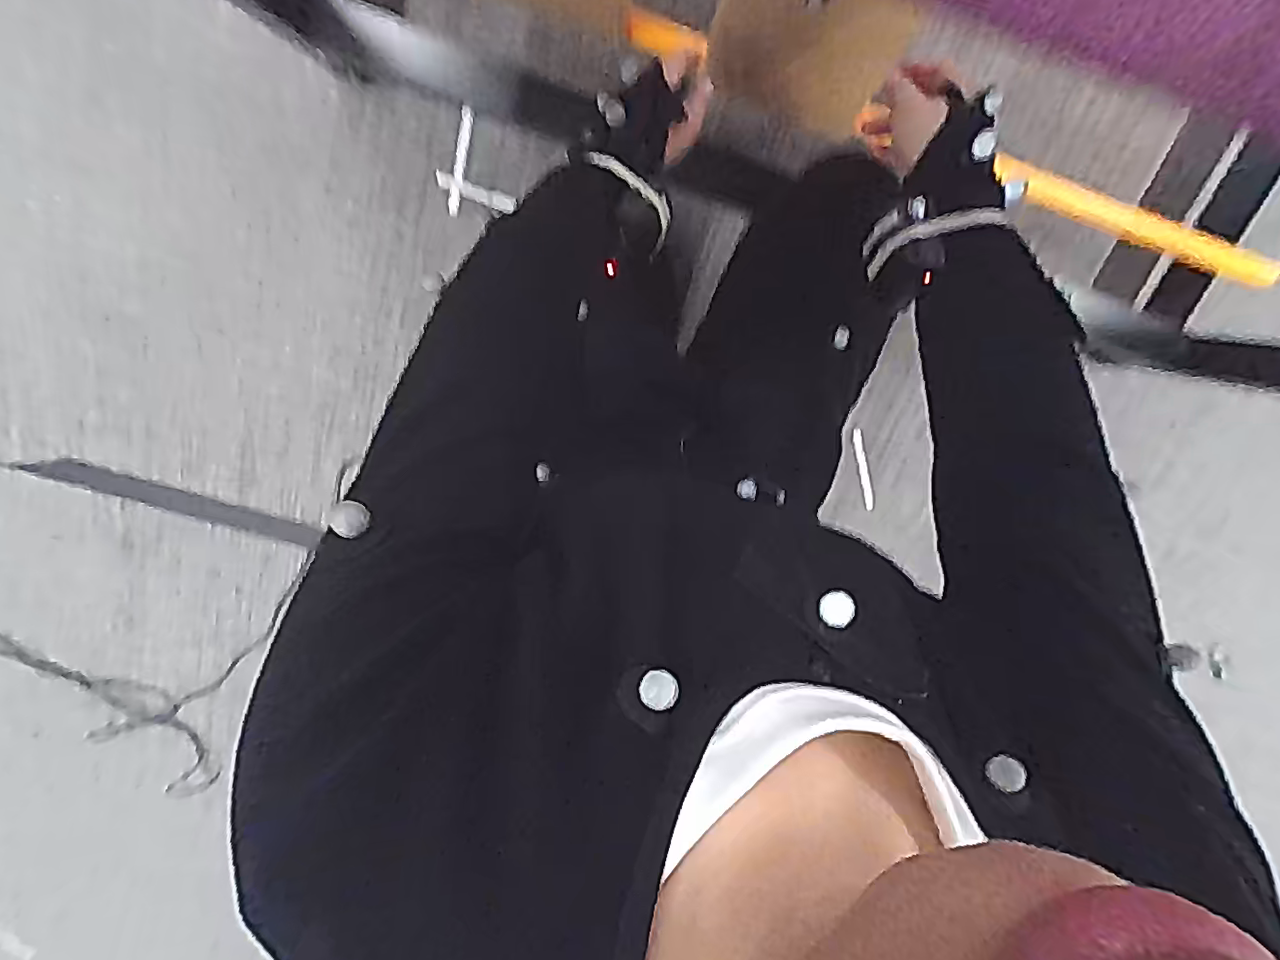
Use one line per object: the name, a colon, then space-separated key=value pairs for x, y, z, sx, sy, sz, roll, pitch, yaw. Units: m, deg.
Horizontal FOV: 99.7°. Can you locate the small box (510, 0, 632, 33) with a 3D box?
small box: x=-0.074 y=-0.539 z=0.476 sx=0.179 sy=0.176 sz=0.168 roll=15 pitch=111 yaw=-7

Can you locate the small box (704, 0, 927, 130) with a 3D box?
small box: x=0.177 y=-0.493 z=0.533 sx=0.179 sy=0.176 sz=0.168 roll=15 pitch=75 yaw=-8
